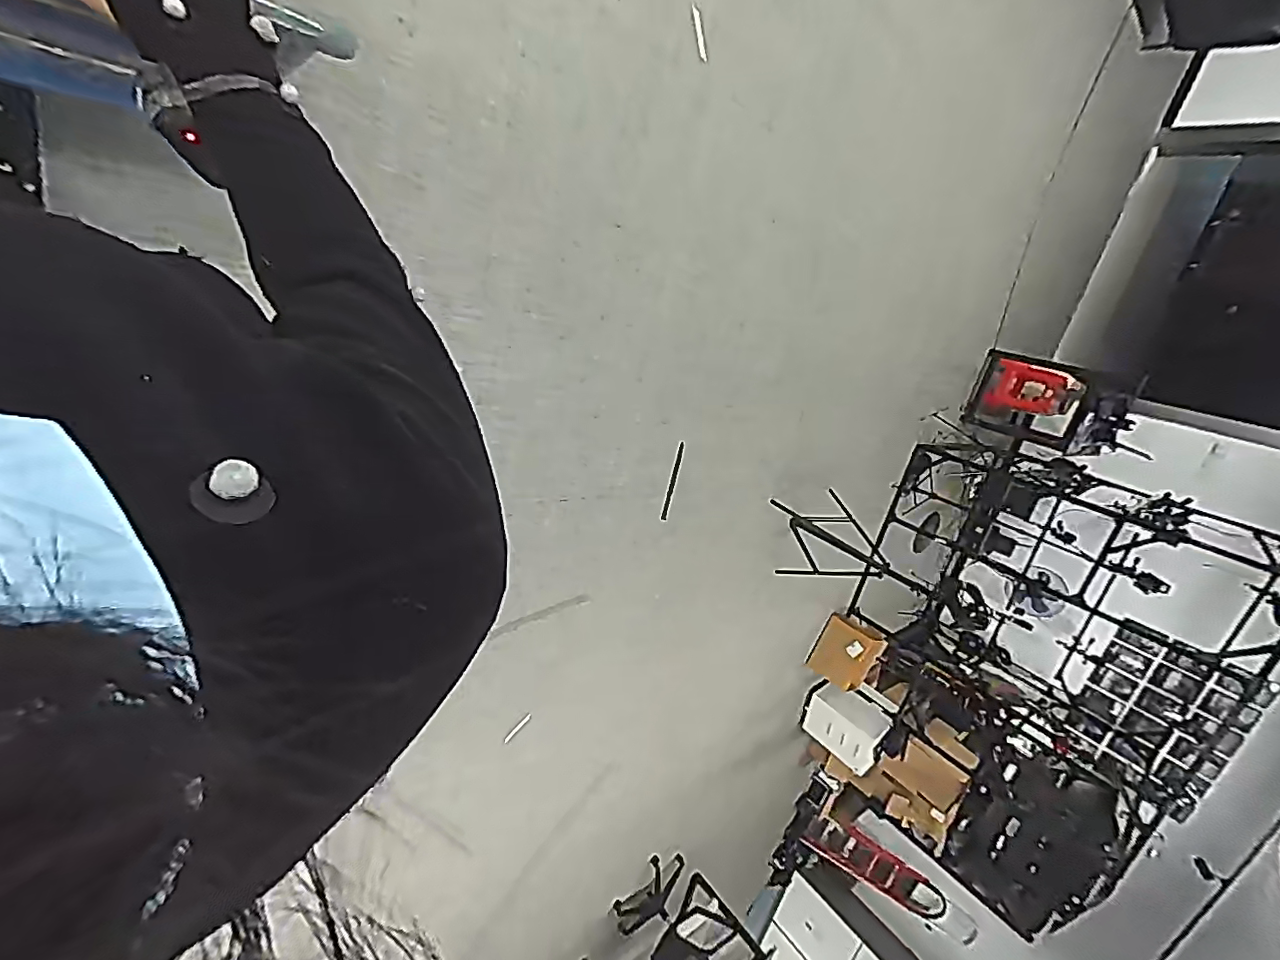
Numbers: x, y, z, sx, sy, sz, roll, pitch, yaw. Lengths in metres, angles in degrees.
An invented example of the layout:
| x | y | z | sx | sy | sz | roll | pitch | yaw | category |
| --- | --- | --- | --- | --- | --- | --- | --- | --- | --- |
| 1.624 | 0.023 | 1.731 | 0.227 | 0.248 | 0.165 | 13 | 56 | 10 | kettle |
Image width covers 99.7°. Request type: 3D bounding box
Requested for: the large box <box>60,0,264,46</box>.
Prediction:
| x | y | z | sx | sy | sz | roll | pitch | yaw | category |
| --- | --- | --- | --- | --- | --- | --- | --- | --- | --- |
| -0.721 | -0.775 | 0.625 | 0.408 | 0.320 | 0.320 | -12 | 121 | -40 | large box |
